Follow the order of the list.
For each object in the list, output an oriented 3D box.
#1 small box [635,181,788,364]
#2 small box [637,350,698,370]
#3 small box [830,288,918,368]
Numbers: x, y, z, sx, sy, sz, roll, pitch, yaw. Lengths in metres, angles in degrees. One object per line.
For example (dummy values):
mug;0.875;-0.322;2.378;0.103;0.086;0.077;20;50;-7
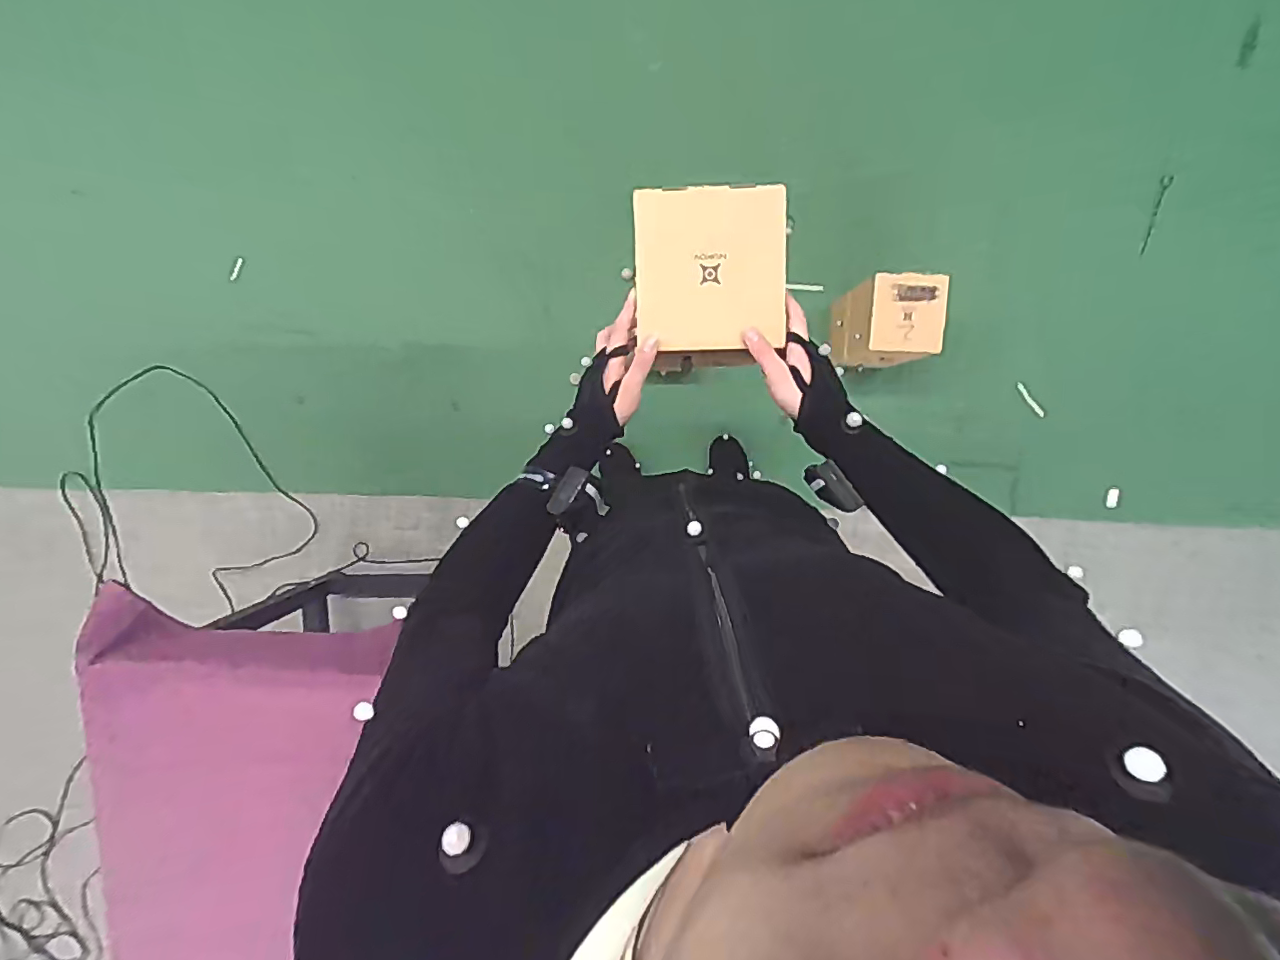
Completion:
small box;0.080;-0.238;0.663;0.168;0.176;0.179;-1;94;2
small box;0.080;-0.406;1.506;0.168;0.176;0.179;2;97;4
small box;0.627;-0.408;1.469;0.168;0.176;0.179;4;97;3
